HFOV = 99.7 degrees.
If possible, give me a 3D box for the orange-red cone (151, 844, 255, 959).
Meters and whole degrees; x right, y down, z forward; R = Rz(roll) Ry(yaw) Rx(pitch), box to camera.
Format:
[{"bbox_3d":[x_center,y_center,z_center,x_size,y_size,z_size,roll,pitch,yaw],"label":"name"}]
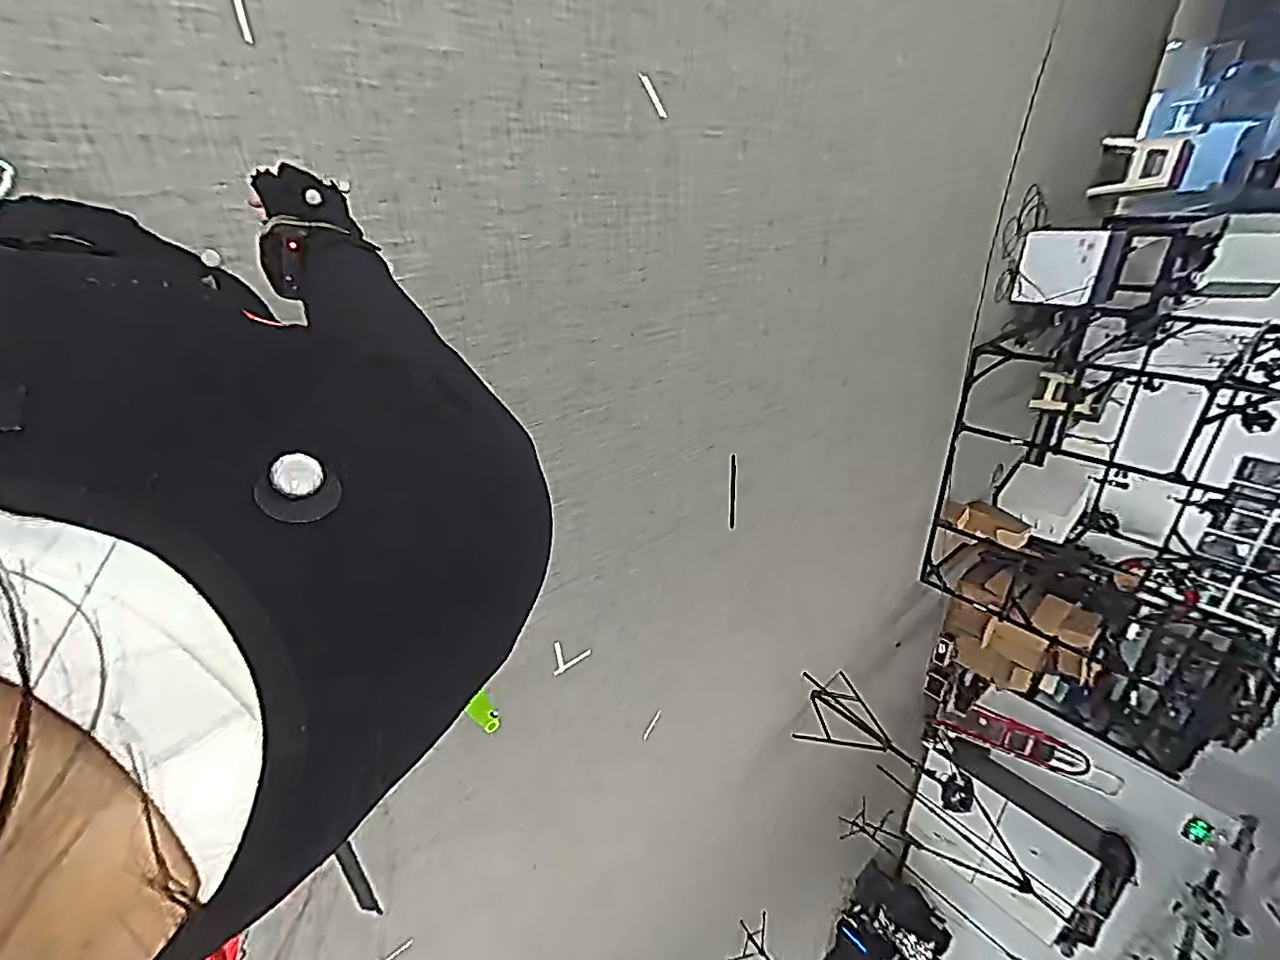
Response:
[{"bbox_3d":[-1.088,1.171,1.366,0.199,0.360,0.198,-16,118,-35],"label":"orange-red cone"}]
